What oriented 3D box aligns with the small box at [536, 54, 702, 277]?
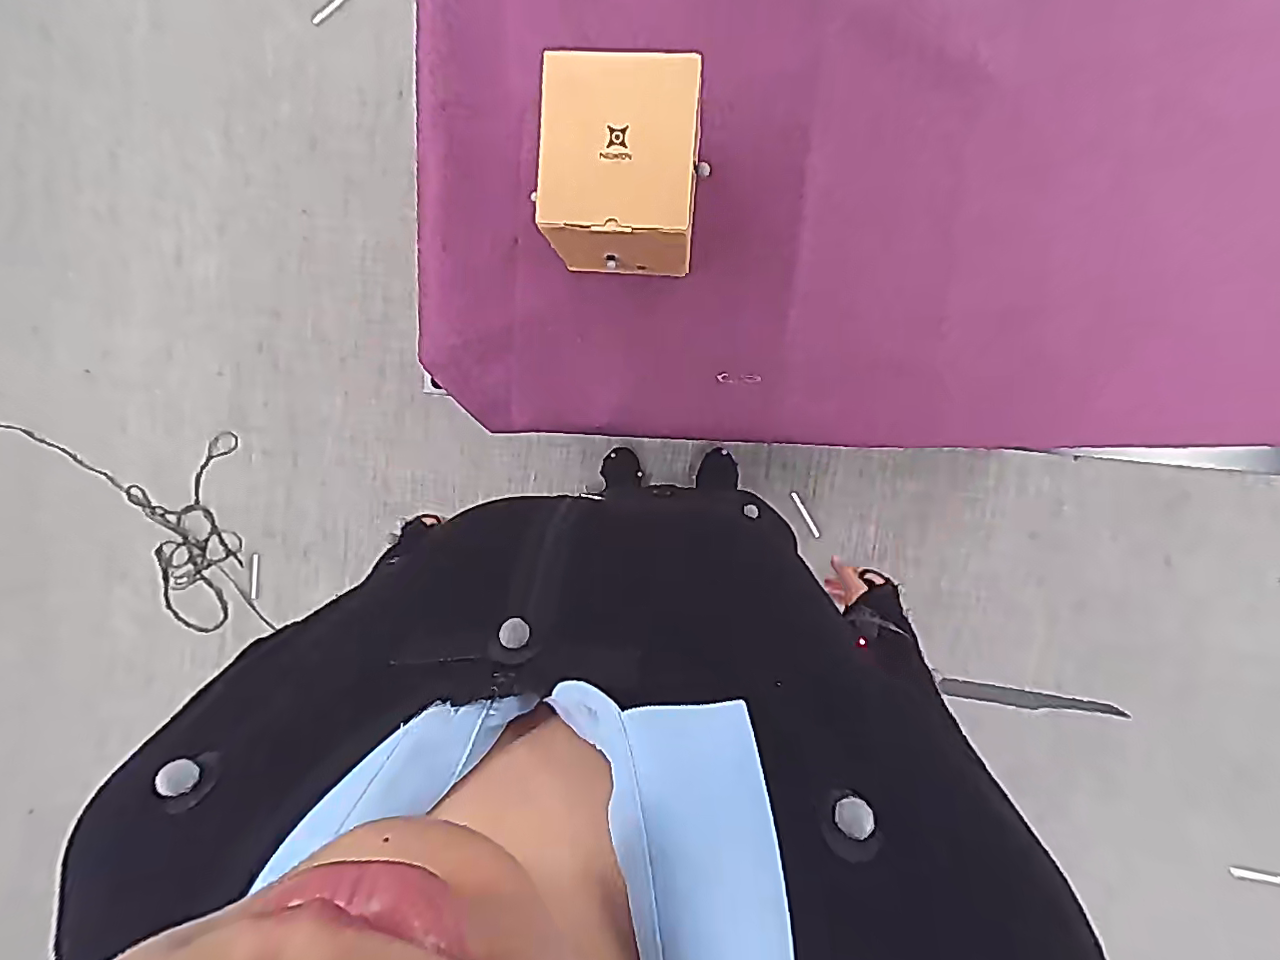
[{"bbox_3d":[-0.019,-0.358,0.644,0.168,0.176,0.179,4,97,4],"label":"small box"}]
